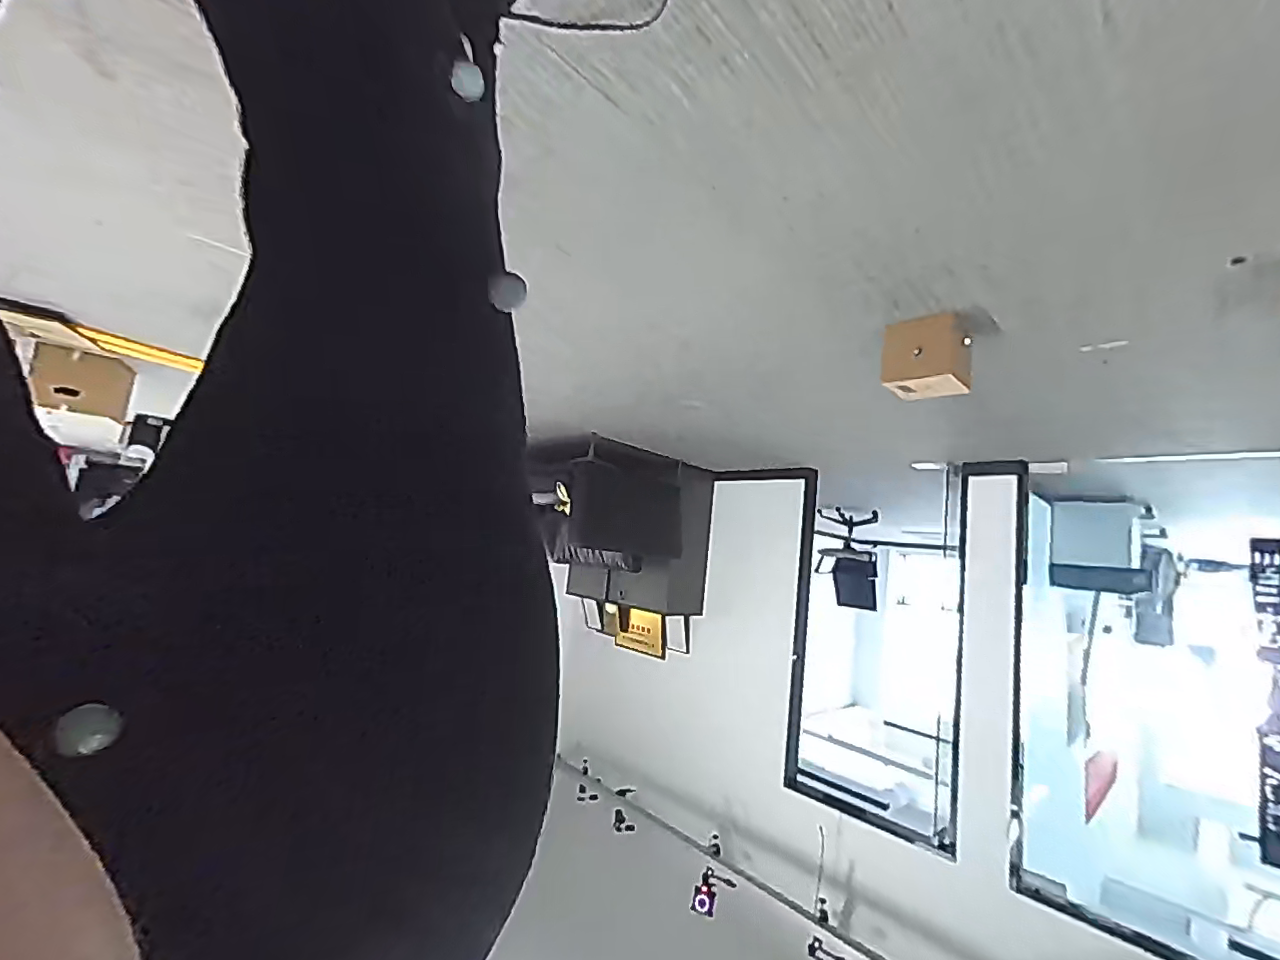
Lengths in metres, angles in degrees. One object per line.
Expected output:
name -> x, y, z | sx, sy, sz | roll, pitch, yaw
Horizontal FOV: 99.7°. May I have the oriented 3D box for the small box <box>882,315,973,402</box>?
small box -> 0.776, -0.323, 1.456 | 0.168, 0.176, 0.179 | 13, 170, -42
